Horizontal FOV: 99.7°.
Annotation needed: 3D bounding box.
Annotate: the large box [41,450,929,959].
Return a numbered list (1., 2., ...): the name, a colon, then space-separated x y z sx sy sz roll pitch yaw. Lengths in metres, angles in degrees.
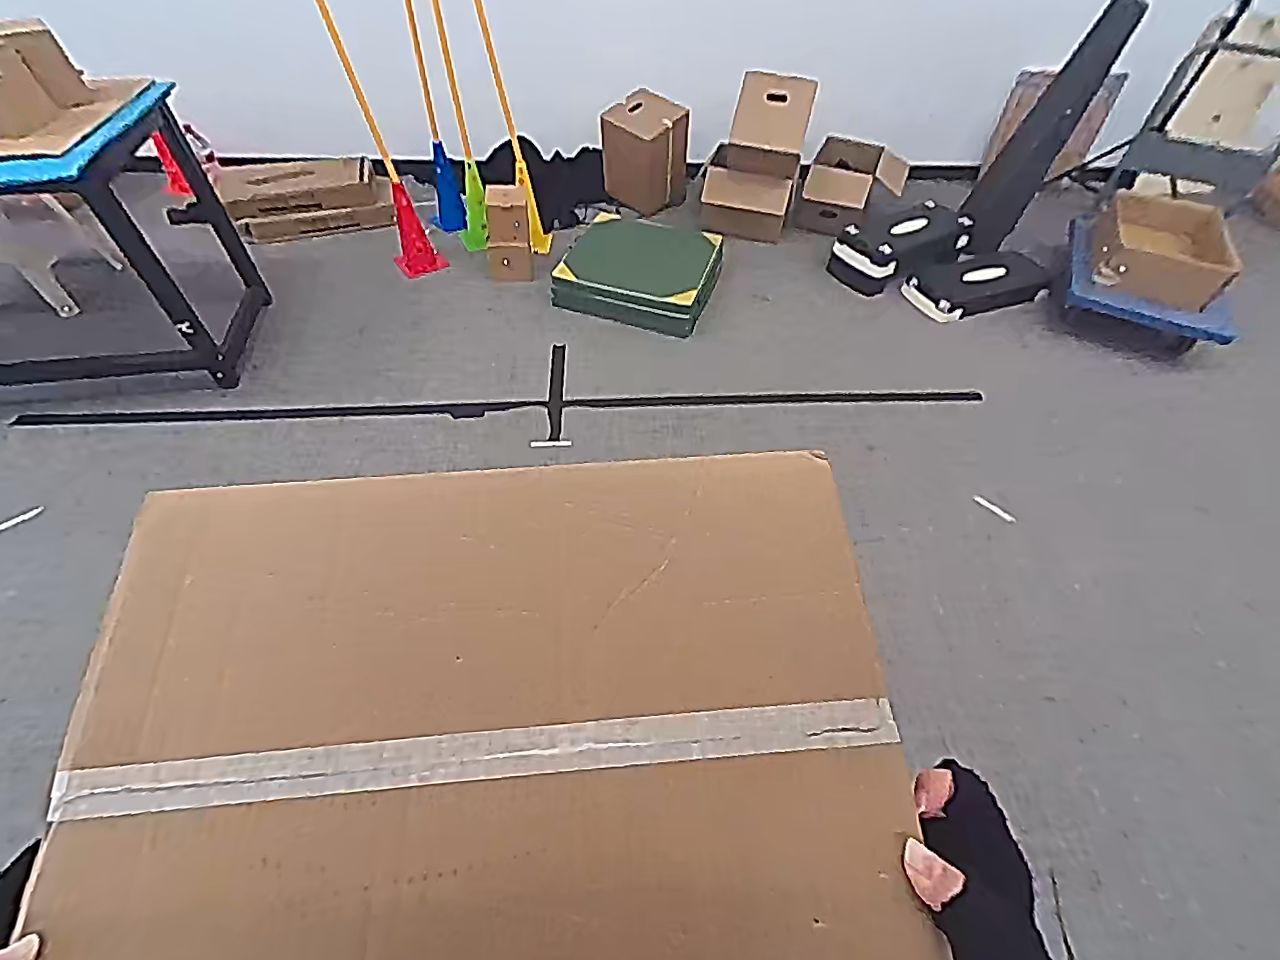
1. large box: -0.078 0.195 0.417 0.408 0.320 0.320 -4 67 -3
